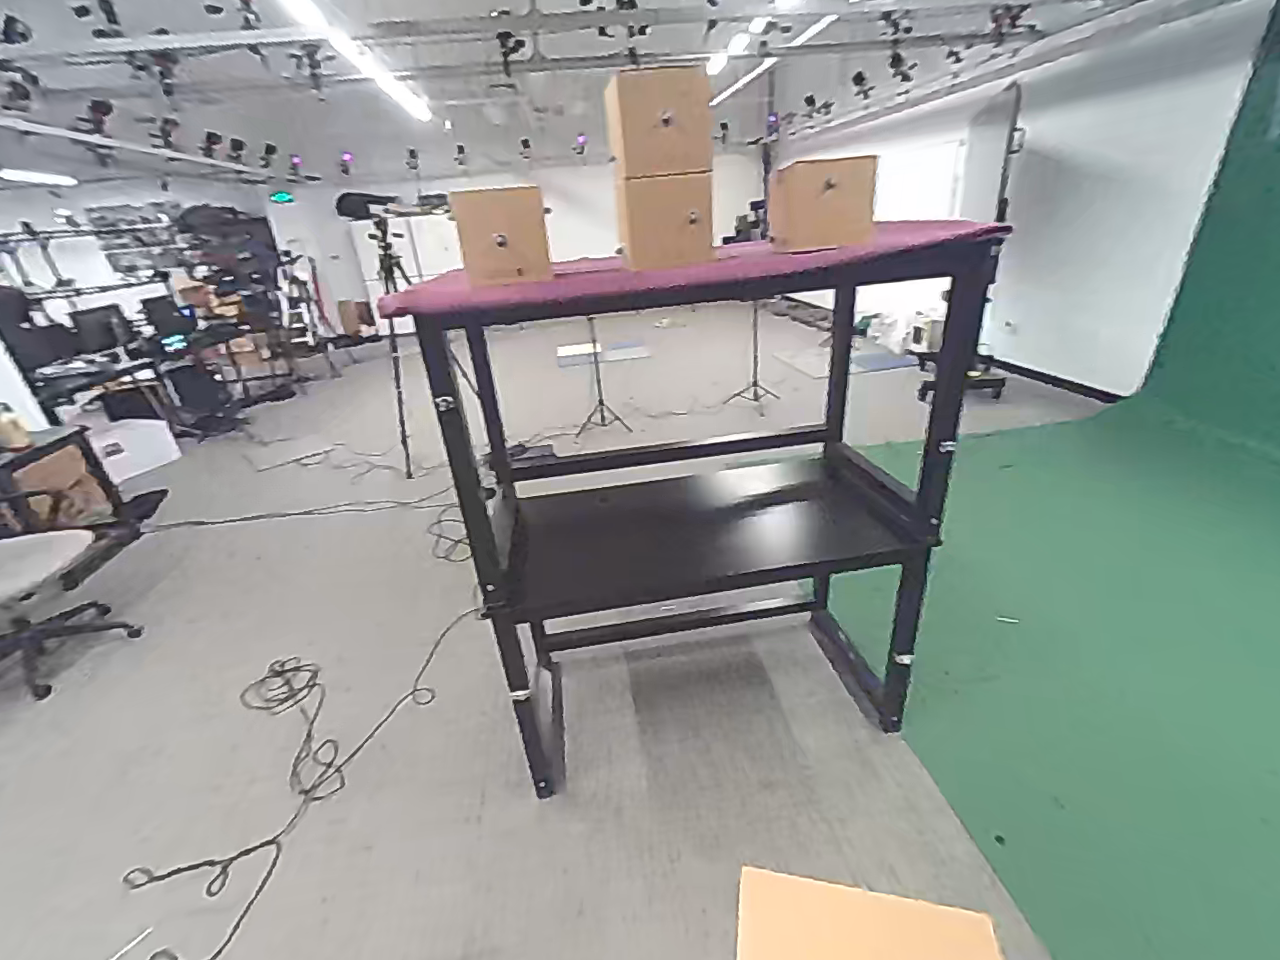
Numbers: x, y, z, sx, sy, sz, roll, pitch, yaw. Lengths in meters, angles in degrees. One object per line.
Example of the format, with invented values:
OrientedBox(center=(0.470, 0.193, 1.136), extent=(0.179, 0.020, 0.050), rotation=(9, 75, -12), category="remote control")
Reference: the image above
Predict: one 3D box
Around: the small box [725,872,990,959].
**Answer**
OrientedBox(center=(0.147, 0.417, 0.379), extent=(0.179, 0.176, 0.168), rotation=(2, 35, 12), category="small box")

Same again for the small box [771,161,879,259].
OrientedBox(center=(0.396, -0.578, 1.176), extent=(0.179, 0.176, 0.168), rotation=(-7, 23, -4), category="small box")

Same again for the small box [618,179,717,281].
OrientedBox(center=(0.055, -0.518, 1.125), extent=(0.179, 0.176, 0.168), rotation=(-9, 25, -6), category="small box")

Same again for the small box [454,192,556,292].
OrientedBox(center=(-0.261, -0.475, 1.086), extent=(0.168, 0.176, 0.179), rotation=(-7, 26, -7), category="small box")
